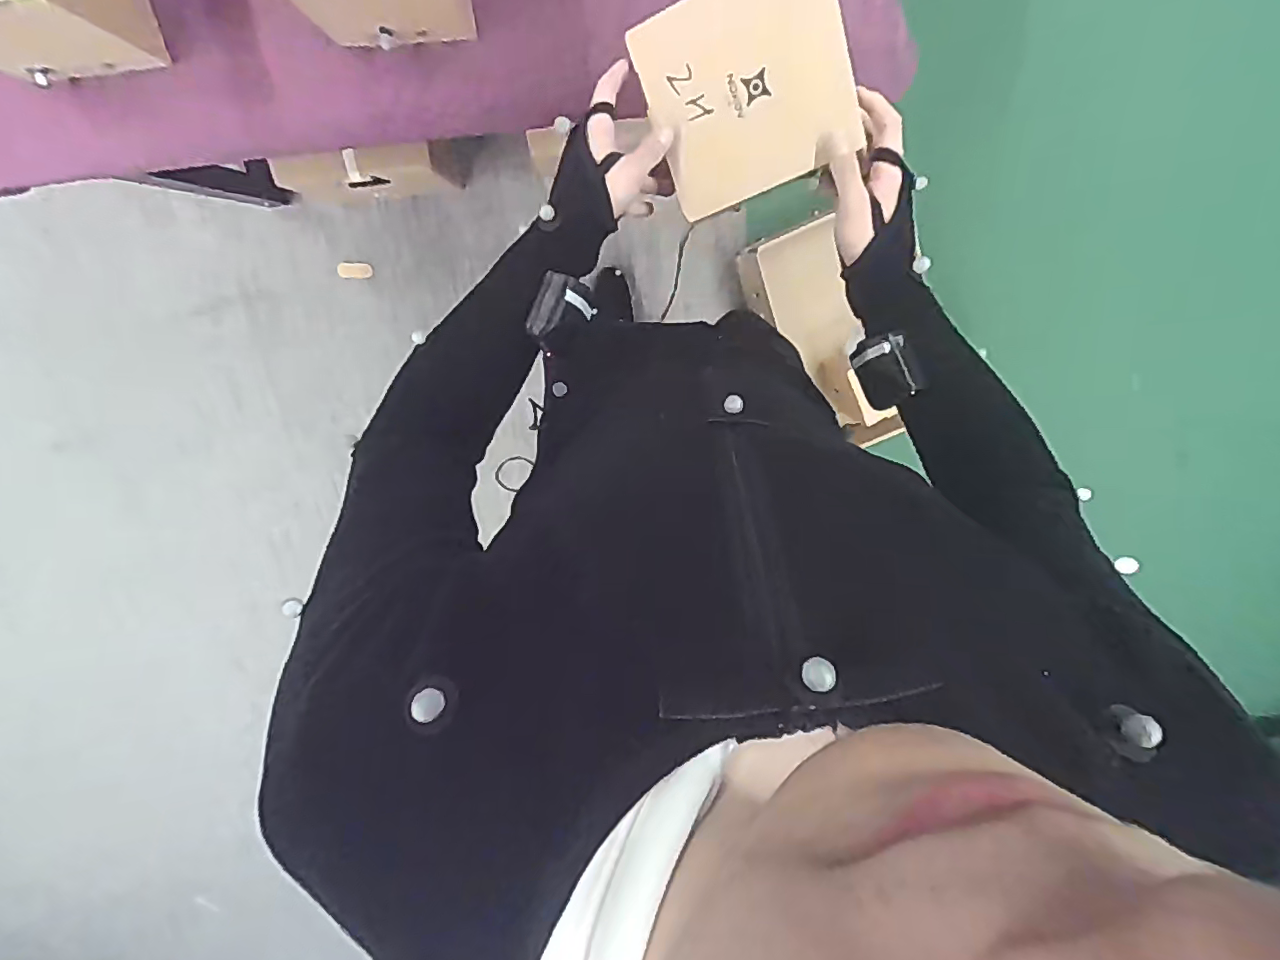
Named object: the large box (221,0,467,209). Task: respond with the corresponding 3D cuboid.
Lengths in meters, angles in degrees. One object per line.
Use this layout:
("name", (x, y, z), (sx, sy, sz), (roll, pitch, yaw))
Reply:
("large box", (-0.592, -0.828, 1.139), (0.320, 0.320, 0.408), (-8, 110, -3))

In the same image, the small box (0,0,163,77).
("small box", (-0.639, -0.529, 0.535), (0.168, 0.176, 0.179), (-9, 110, -3))

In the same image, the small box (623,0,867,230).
("small box", (0.103, -0.370, 0.541), (0.179, 0.176, 0.168), (-17, 111, 17))

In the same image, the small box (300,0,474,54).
("small box", (-0.280, -0.577, 0.553), (0.168, 0.176, 0.179), (-6, 111, -2))
